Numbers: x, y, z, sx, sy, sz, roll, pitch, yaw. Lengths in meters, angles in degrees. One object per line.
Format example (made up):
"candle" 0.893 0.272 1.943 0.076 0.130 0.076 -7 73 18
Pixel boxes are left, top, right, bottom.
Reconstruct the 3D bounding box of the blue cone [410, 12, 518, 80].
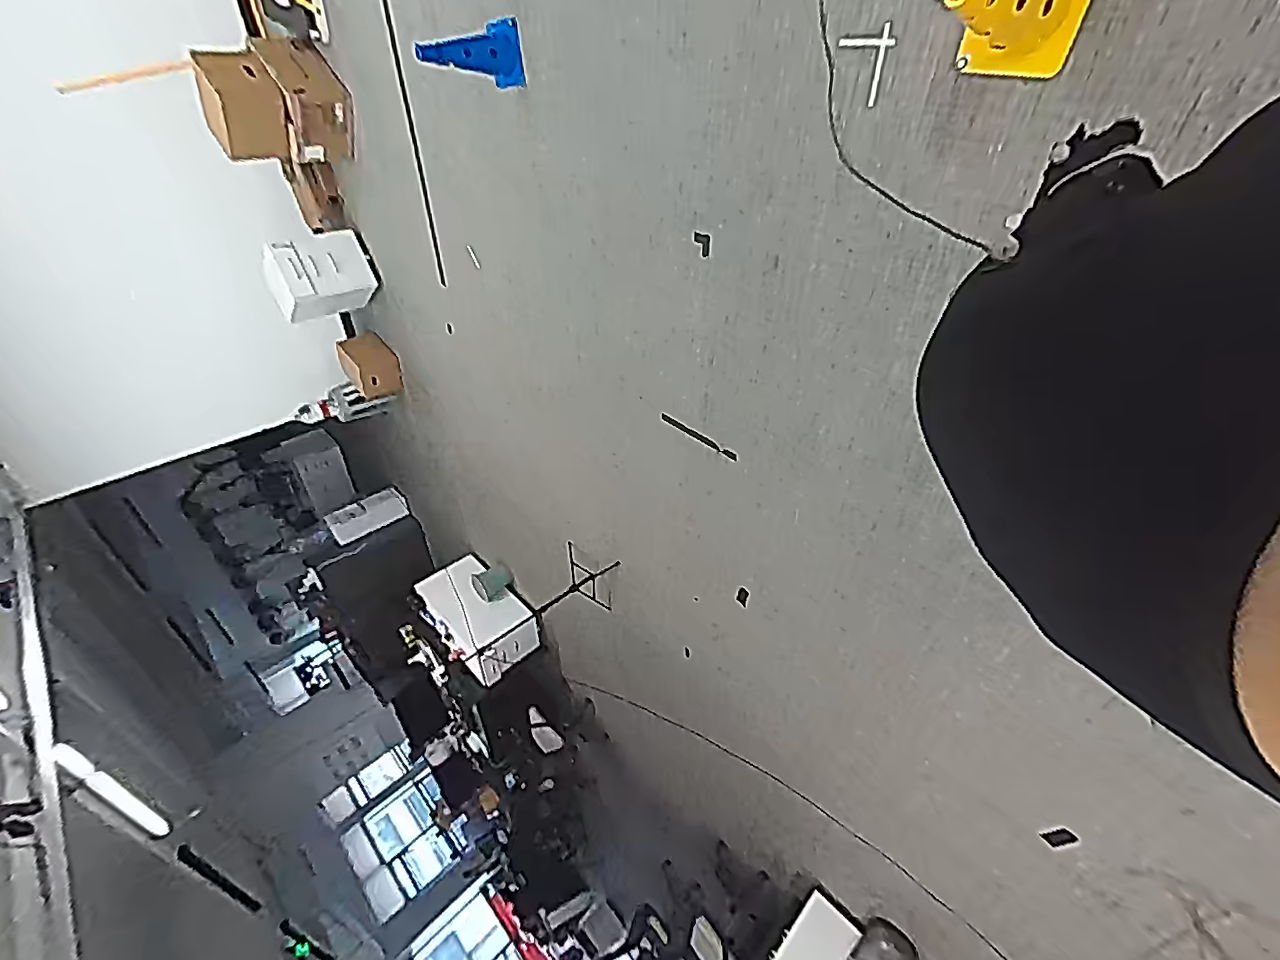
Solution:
"blue cone" -0.638 -1.558 1.937 0.193 0.380 0.192 29 135 37
